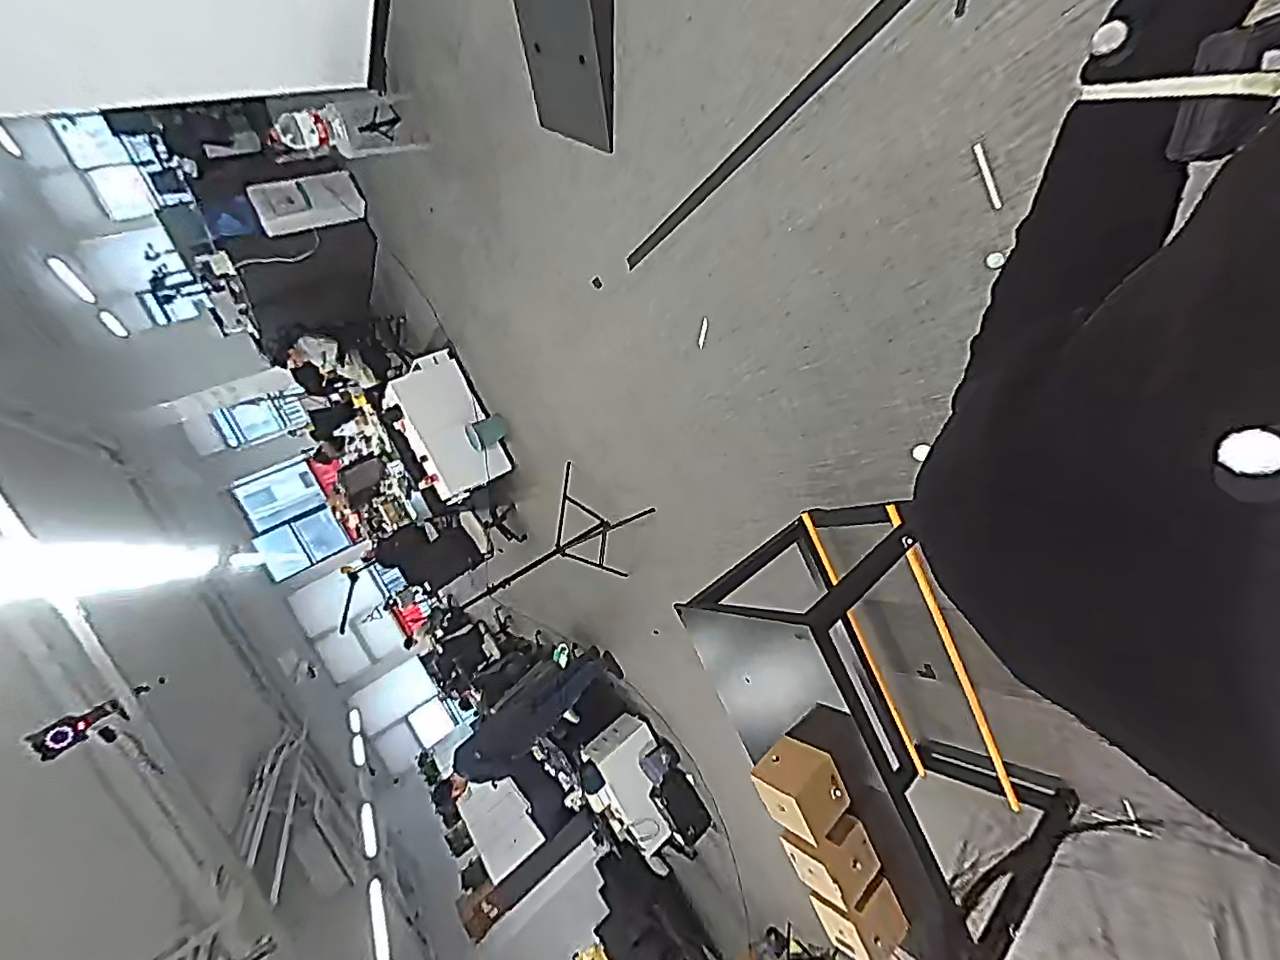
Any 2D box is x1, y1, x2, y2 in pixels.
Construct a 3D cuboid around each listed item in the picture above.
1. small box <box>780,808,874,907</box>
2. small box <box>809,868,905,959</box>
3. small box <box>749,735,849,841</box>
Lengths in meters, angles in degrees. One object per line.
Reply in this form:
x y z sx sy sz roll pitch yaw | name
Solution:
0.545 1.056 1.556 0.179 0.176 0.168 -13 105 59 | small box
0.638 1.248 1.582 0.168 0.176 0.179 -18 100 60 | small box
0.449 0.854 1.524 0.179 0.176 0.168 -12 107 59 | small box
